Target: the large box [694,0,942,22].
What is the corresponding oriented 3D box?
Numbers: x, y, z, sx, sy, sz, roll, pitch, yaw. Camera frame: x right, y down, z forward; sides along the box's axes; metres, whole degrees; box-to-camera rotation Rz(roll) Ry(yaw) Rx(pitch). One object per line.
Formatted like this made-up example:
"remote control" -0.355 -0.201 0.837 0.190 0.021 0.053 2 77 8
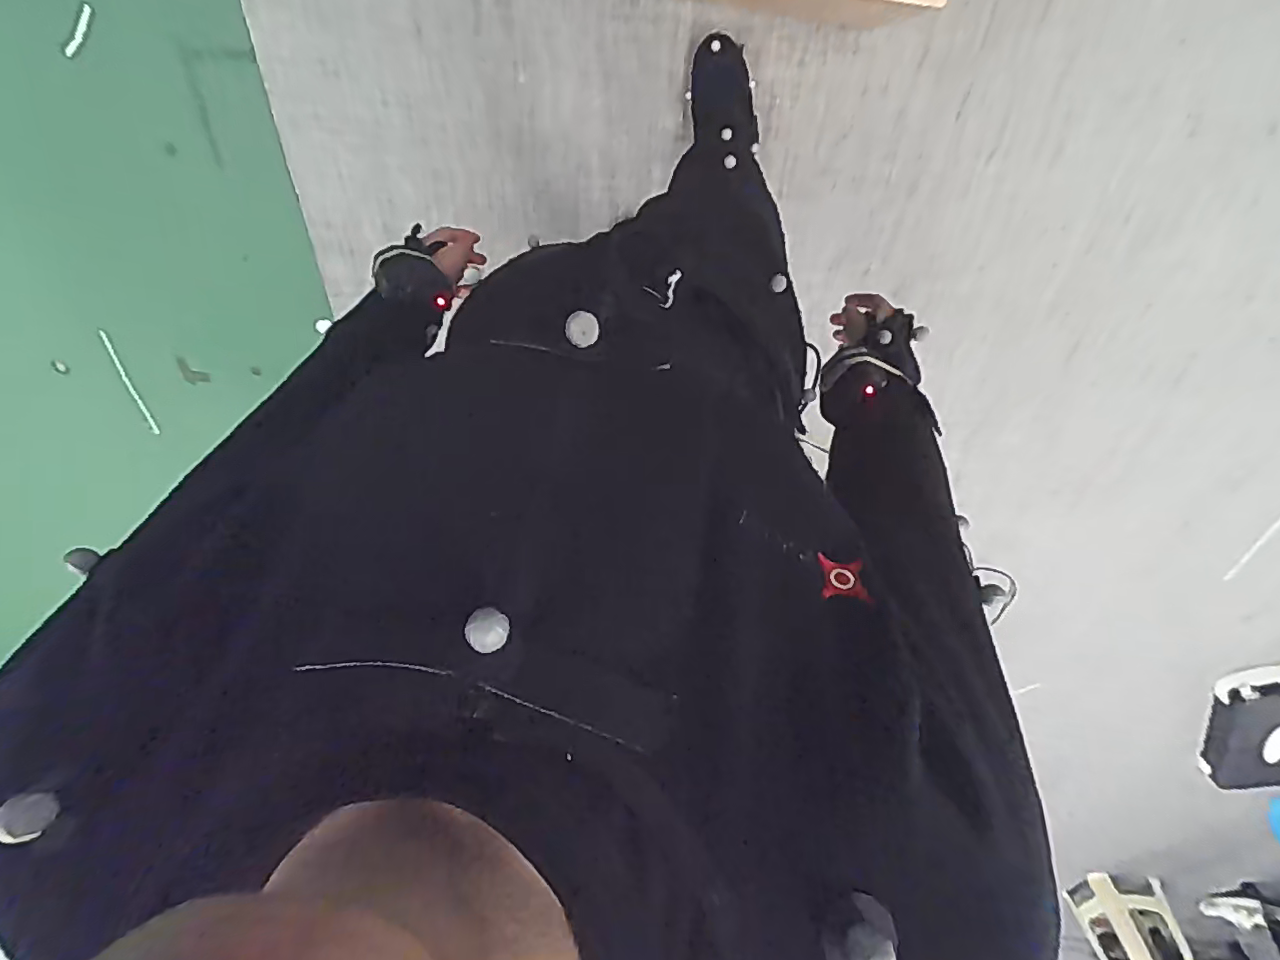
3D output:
"large box" 0.225 -0.851 0.726 0.408 0.320 0.320 7 127 -2
